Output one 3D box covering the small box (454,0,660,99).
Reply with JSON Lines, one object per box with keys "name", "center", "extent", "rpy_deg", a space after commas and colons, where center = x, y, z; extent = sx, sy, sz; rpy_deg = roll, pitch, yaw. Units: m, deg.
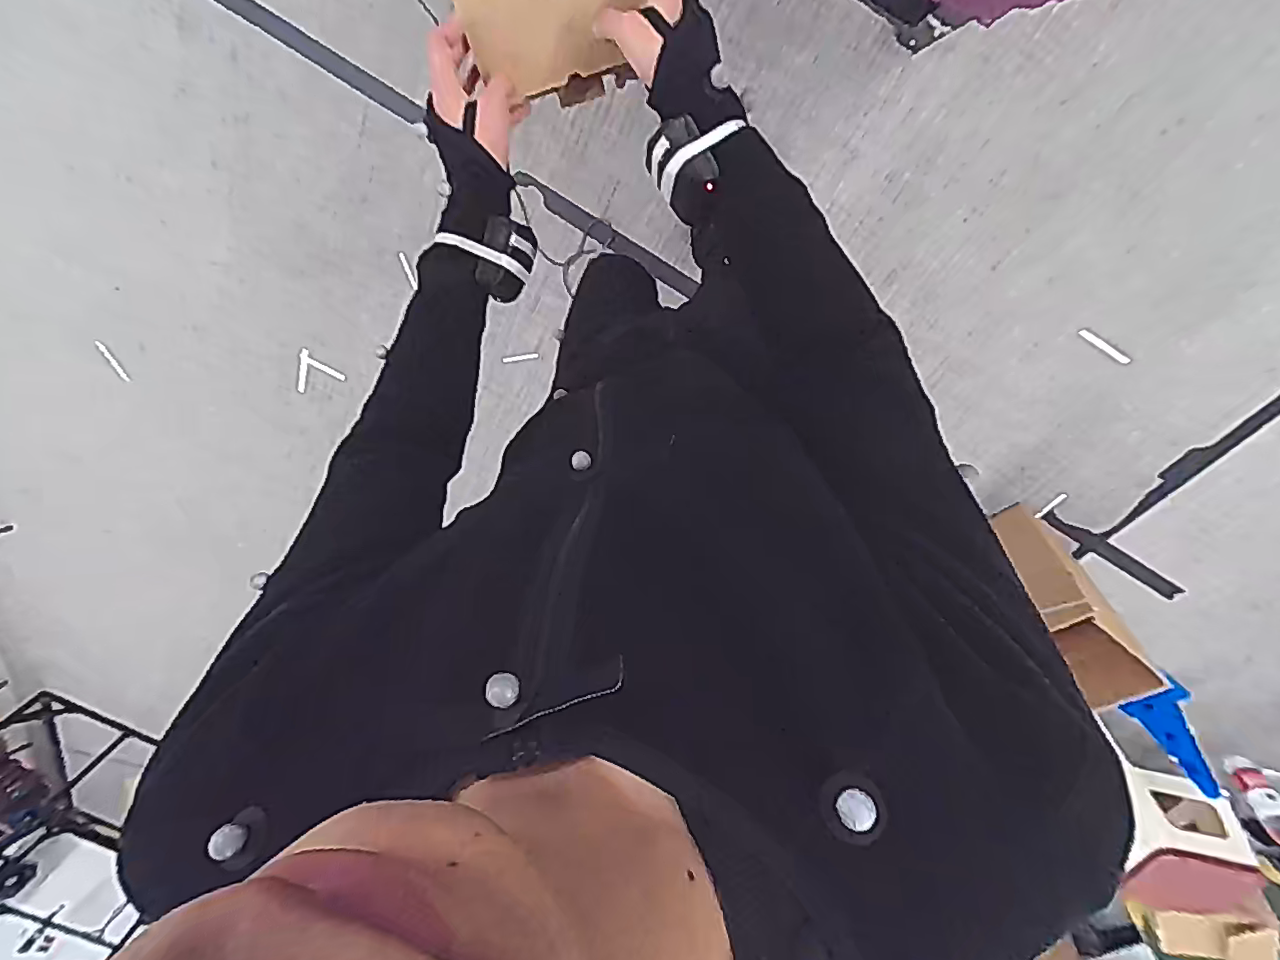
{"name": "small box", "center": [-0.078, -0.477, 0.490], "extent": [0.168, 0.176, 0.179], "rpy_deg": [-12, 127, 10]}
